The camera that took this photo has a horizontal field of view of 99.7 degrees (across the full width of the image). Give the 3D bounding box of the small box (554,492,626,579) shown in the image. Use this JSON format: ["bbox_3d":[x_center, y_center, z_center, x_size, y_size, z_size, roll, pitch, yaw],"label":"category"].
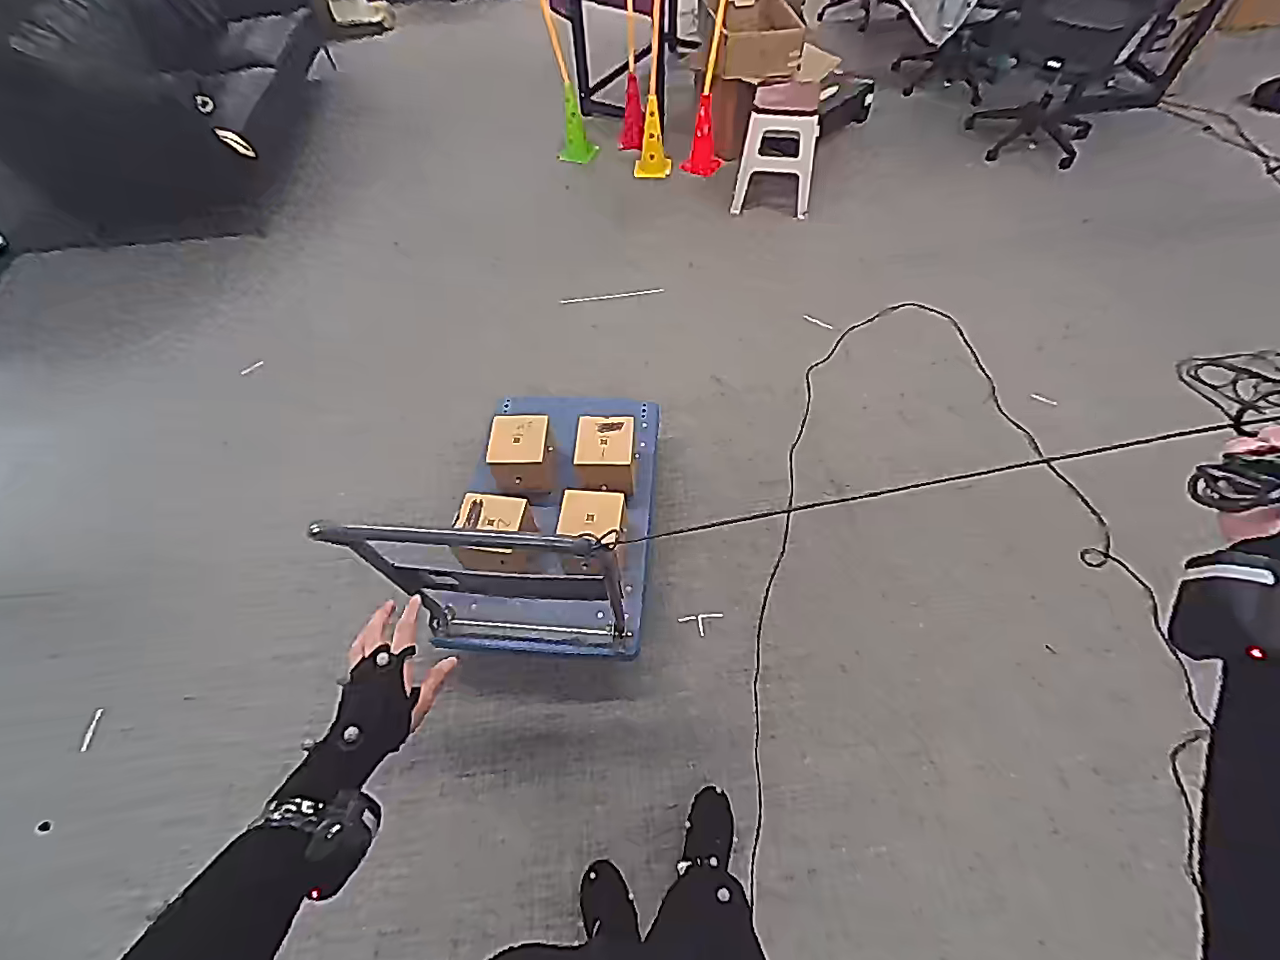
[{"bbox_3d":[-0.130,0.155,1.488,0.168,0.176,0.179,4,59,5],"label":"small box"}]

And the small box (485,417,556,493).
[{"bbox_3d":[-0.356,-0.071,1.642,0.168,0.176,0.179,0,57,2],"label":"small box"}]

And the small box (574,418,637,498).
[{"bbox_3d":[-0.099,-0.066,1.627,0.168,0.176,0.179,1,58,4],"label":"small box"}]
